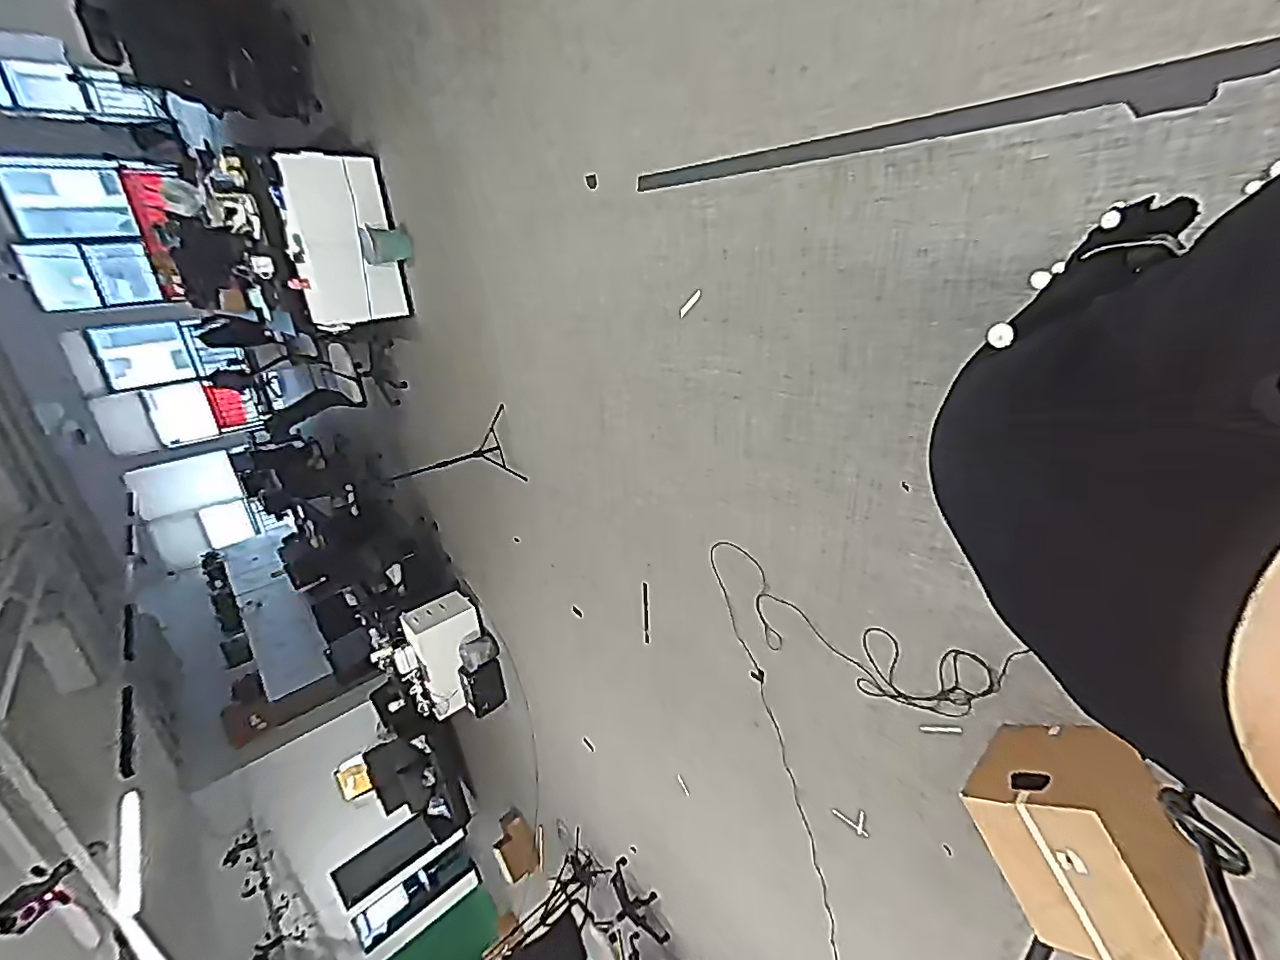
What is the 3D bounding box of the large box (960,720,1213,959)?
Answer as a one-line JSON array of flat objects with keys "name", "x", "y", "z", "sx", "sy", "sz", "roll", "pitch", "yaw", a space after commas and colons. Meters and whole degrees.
[{"name": "large box", "x": 1.119, "y": 0.878, "z": 1.367, "sx": 0.320, "sy": 0.320, "sz": 0.408, "roll": -36, "pitch": 79, "yaw": 52}]
